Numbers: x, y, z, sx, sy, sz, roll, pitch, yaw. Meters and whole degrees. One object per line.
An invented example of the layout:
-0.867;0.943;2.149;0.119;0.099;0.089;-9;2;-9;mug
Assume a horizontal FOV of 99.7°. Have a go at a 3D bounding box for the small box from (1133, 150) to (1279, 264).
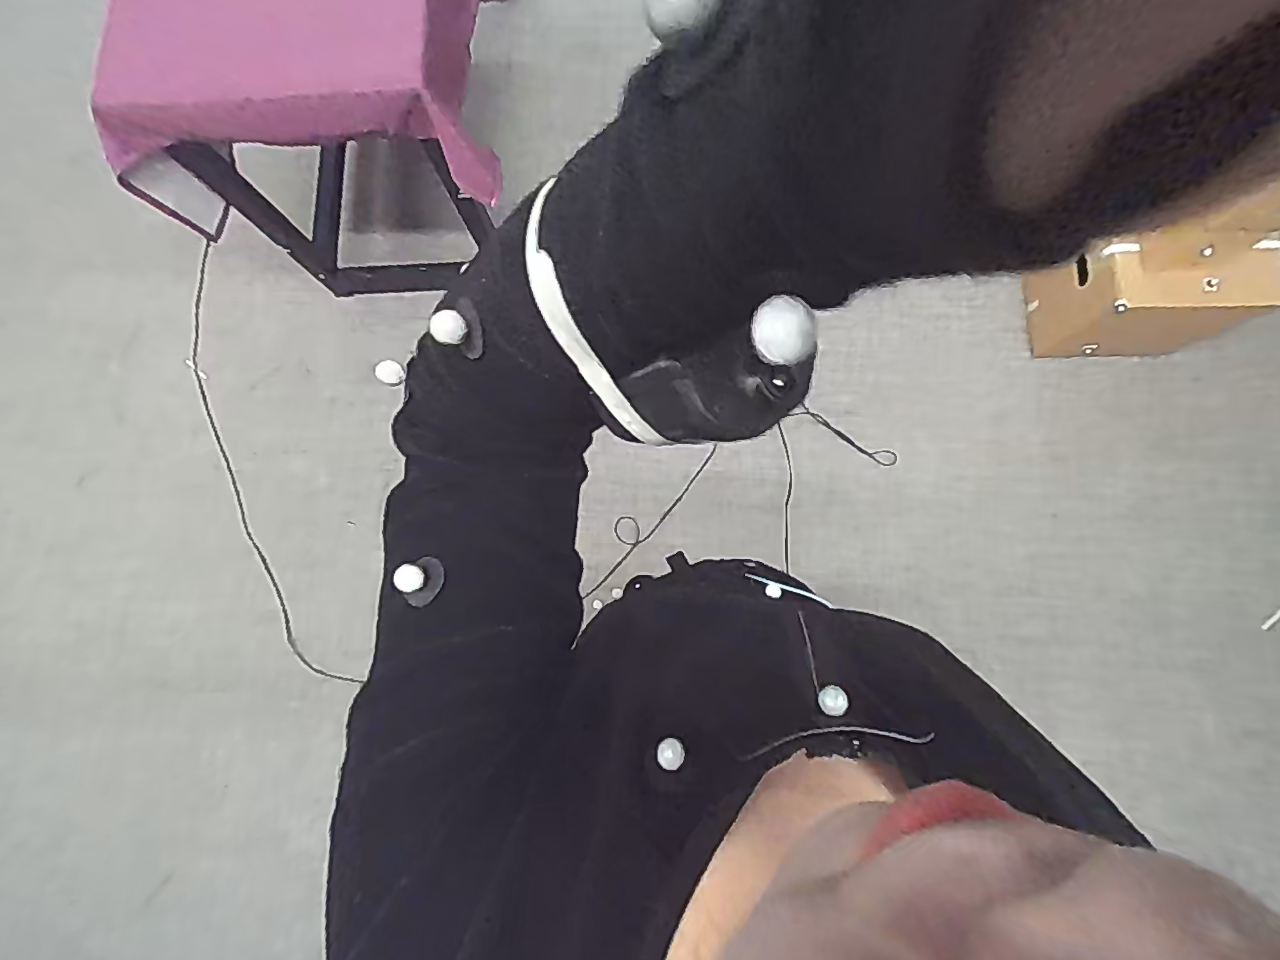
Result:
1.285;-0.610;1.231;0.168;0.176;0.179;-1;79;1;small box
